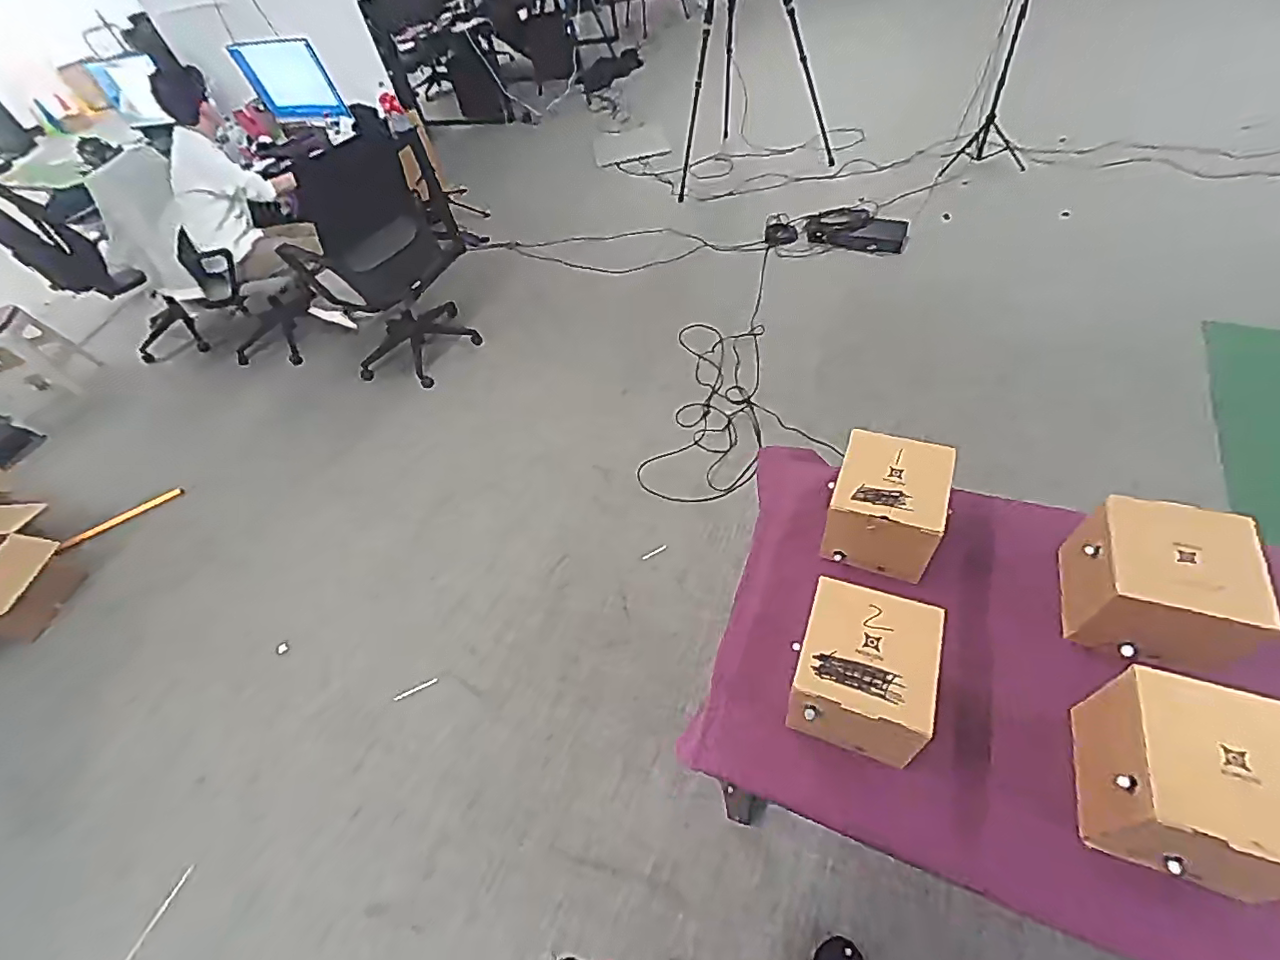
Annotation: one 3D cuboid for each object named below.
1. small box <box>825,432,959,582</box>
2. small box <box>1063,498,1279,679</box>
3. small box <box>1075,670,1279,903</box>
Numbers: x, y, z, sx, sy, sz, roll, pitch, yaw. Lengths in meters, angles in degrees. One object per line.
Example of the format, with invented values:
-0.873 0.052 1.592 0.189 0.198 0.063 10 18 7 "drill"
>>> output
0.425 0.050 0.931 0.168 0.176 0.179 16 57 22 "small box"
0.745 0.158 0.785 0.168 0.176 0.179 13 56 22 "small box"
0.649 0.360 0.637 0.168 0.176 0.179 13 55 20 "small box"
